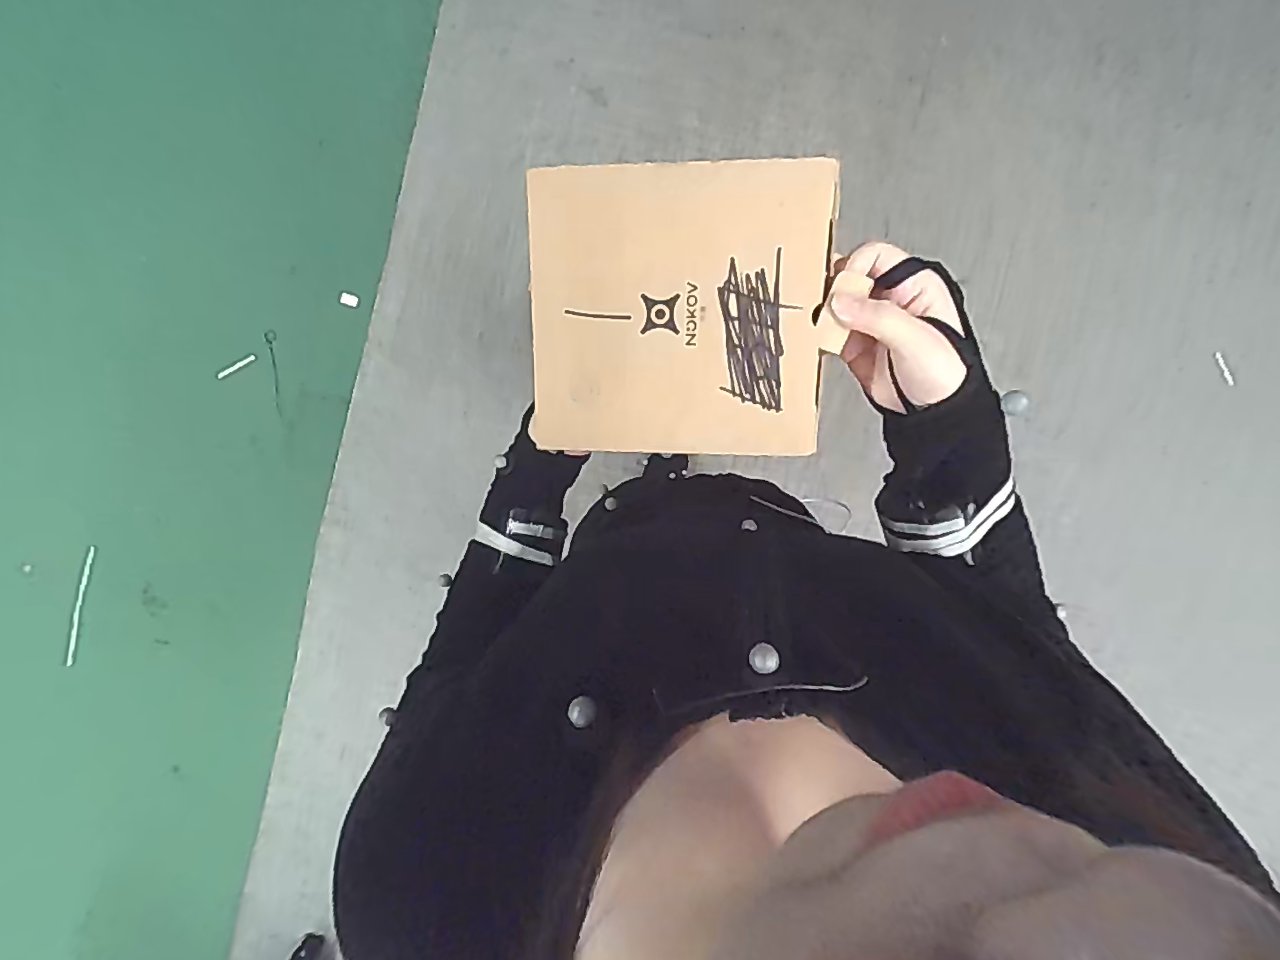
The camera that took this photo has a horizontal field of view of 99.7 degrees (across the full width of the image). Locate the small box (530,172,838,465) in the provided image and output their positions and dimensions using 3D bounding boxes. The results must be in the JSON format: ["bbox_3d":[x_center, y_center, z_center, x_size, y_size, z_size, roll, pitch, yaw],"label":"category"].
[{"bbox_3d":[0.028,-0.112,0.398,0.179,0.176,0.168,3,104,6],"label":"small box"}]
